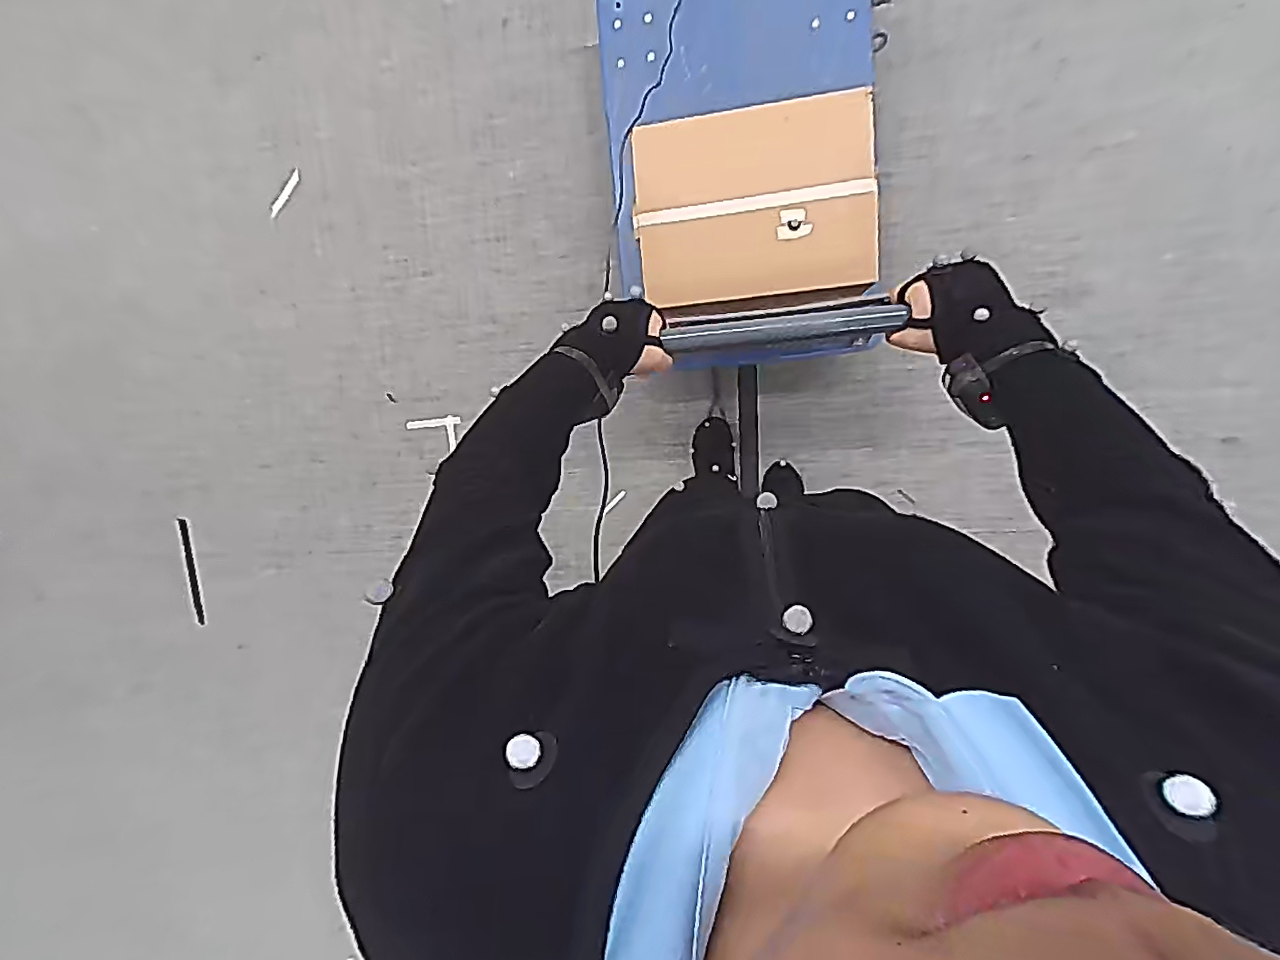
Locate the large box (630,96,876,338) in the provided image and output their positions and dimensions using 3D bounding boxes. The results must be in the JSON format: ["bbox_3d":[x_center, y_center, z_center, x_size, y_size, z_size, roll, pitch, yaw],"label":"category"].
[{"bbox_3d":[0.213,-0.481,1.078,0.408,0.320,0.320,-4,98,9],"label":"large box"}]
